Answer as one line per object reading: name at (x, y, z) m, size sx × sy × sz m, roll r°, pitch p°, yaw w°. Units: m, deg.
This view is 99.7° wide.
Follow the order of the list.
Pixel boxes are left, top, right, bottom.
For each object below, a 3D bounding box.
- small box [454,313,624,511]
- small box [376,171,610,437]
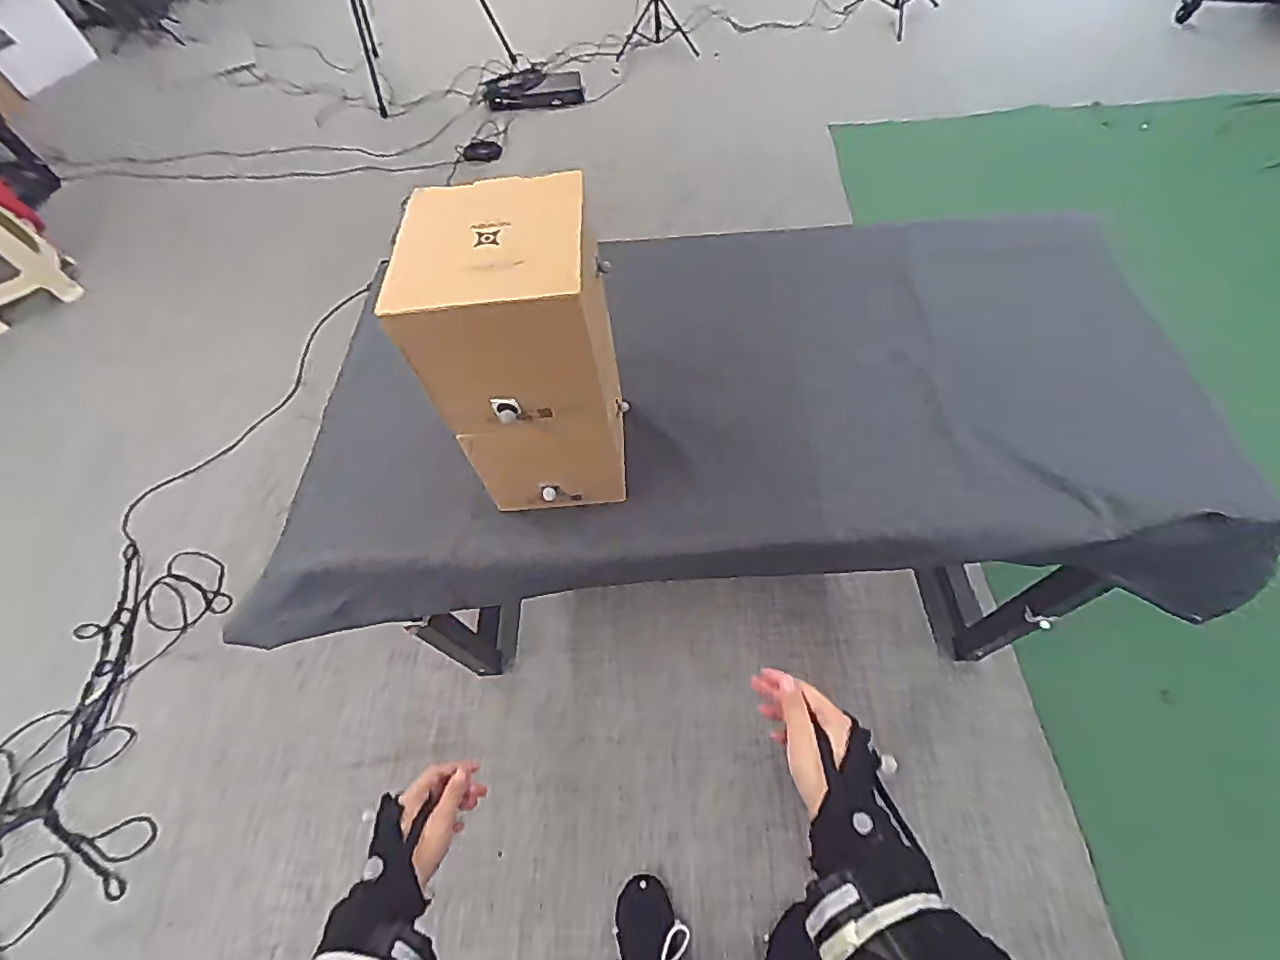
small box at (-0.110, -0.080, 0.666) m, size 0.168 × 0.176 × 0.179 m, roll -5°, pitch 59°, yaw 2°
small box at (-0.123, -0.165, 0.528) m, size 0.168 × 0.176 × 0.179 m, roll -6°, pitch 59°, yaw 3°
